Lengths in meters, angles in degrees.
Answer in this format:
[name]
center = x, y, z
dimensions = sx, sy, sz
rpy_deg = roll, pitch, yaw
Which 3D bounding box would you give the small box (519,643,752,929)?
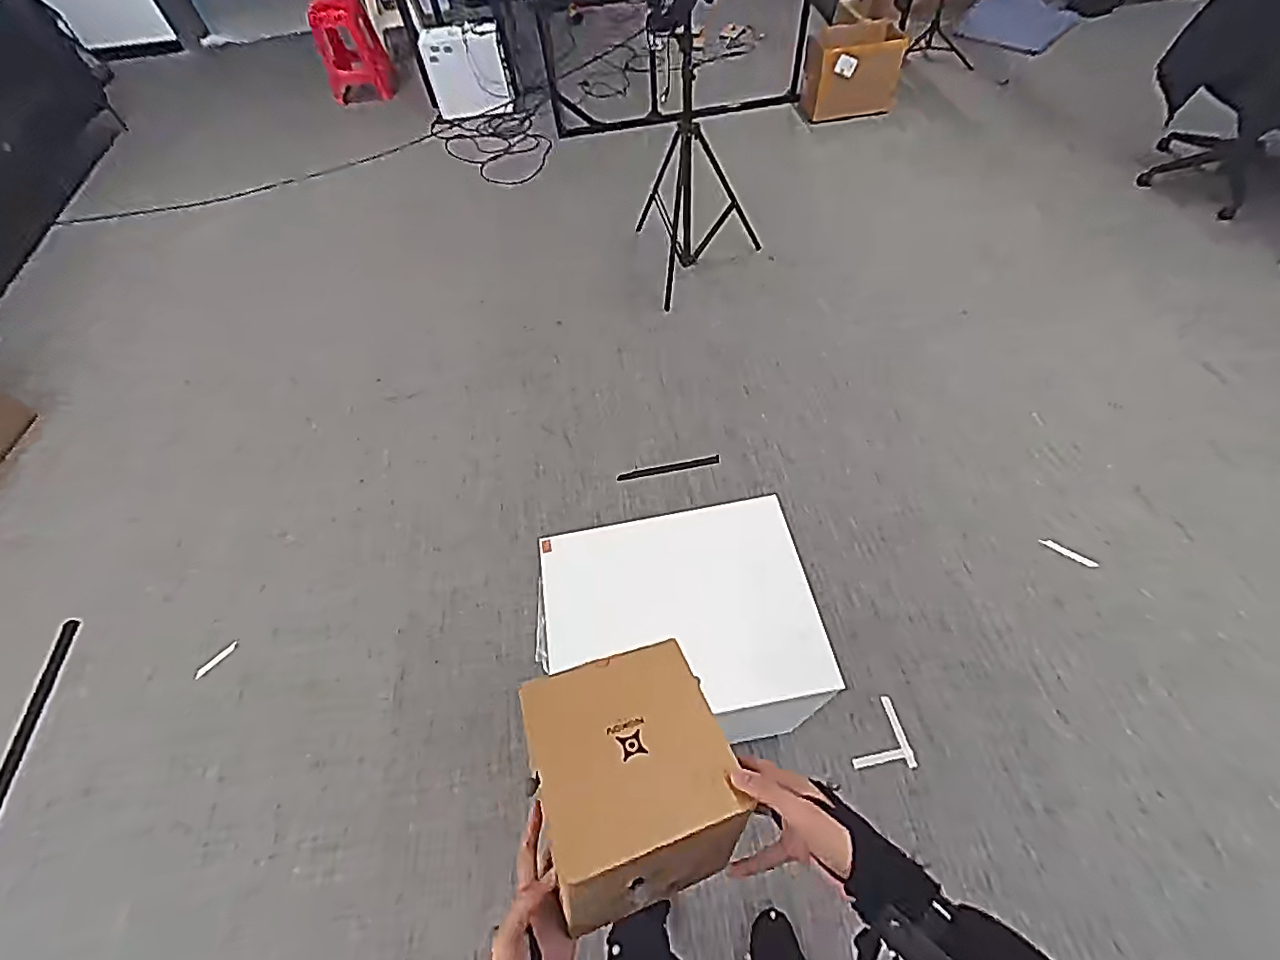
[small box]
center = -0.014, 0.300, 0.531
dimensions = 0.168, 0.176, 0.179
rpy_deg = -12, 41, -18
